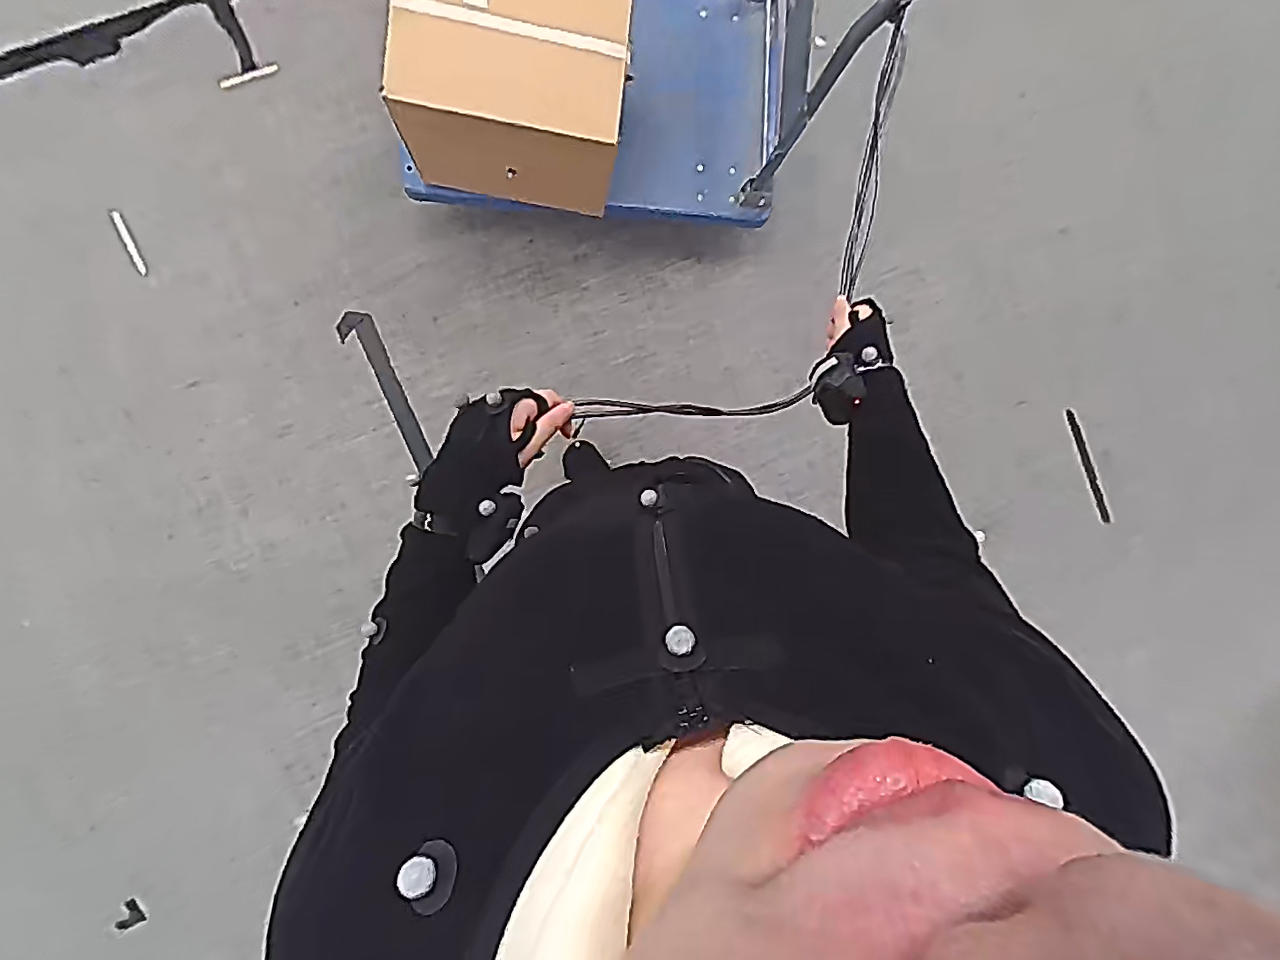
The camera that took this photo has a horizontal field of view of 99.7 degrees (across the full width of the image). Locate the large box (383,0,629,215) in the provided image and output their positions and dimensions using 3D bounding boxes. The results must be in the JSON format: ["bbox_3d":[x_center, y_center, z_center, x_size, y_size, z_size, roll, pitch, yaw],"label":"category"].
[{"bbox_3d":[-0.244,-0.771,1.079,0.408,0.320,0.320,6,92,-8],"label":"large box"}]
